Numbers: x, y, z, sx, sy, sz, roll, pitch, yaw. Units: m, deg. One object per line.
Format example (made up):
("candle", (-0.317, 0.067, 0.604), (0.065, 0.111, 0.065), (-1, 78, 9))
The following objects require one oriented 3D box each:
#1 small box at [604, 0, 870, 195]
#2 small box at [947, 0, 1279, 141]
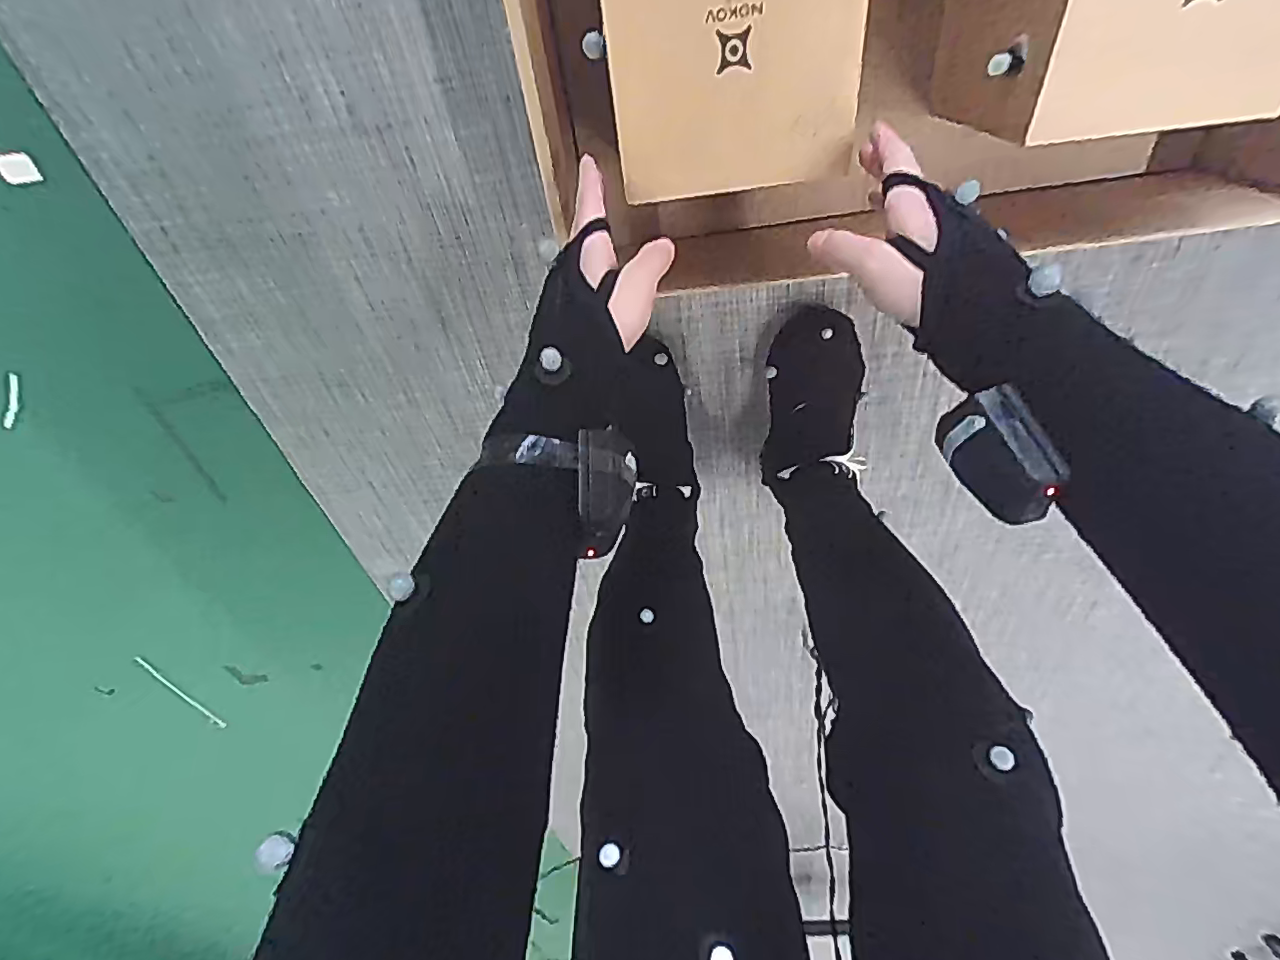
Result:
("small box", (0.063, -0.335, 0.405), (0.168, 0.176, 0.179), (-5, 128, 5))
("small box", (0.344, -0.358, 0.377), (0.168, 0.176, 0.179), (-3, 129, 5))
